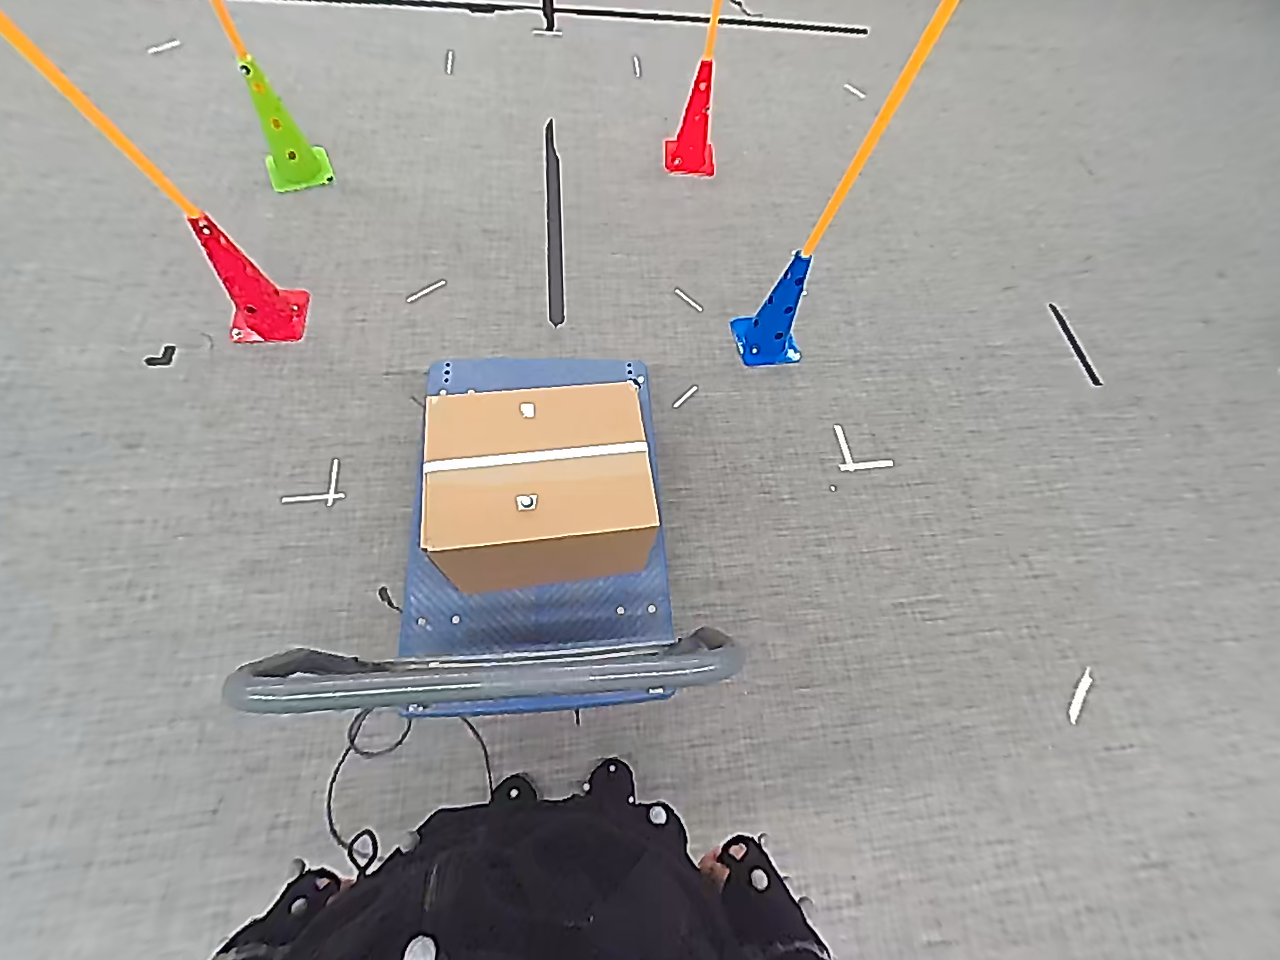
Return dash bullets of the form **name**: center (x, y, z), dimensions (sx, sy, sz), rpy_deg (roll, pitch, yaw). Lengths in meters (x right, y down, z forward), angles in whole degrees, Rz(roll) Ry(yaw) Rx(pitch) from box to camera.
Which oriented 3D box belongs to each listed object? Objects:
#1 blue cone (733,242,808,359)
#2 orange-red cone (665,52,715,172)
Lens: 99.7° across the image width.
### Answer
- **blue cone**: center (0.431, -0.552, 1.648), dimensions (0.193, 0.380, 0.192), rpy_deg (-6, 65, -10)
- **orange-red cone**: center (0.217, -1.368, 1.991), dimensions (0.199, 0.360, 0.198), rpy_deg (4, 65, -6)
